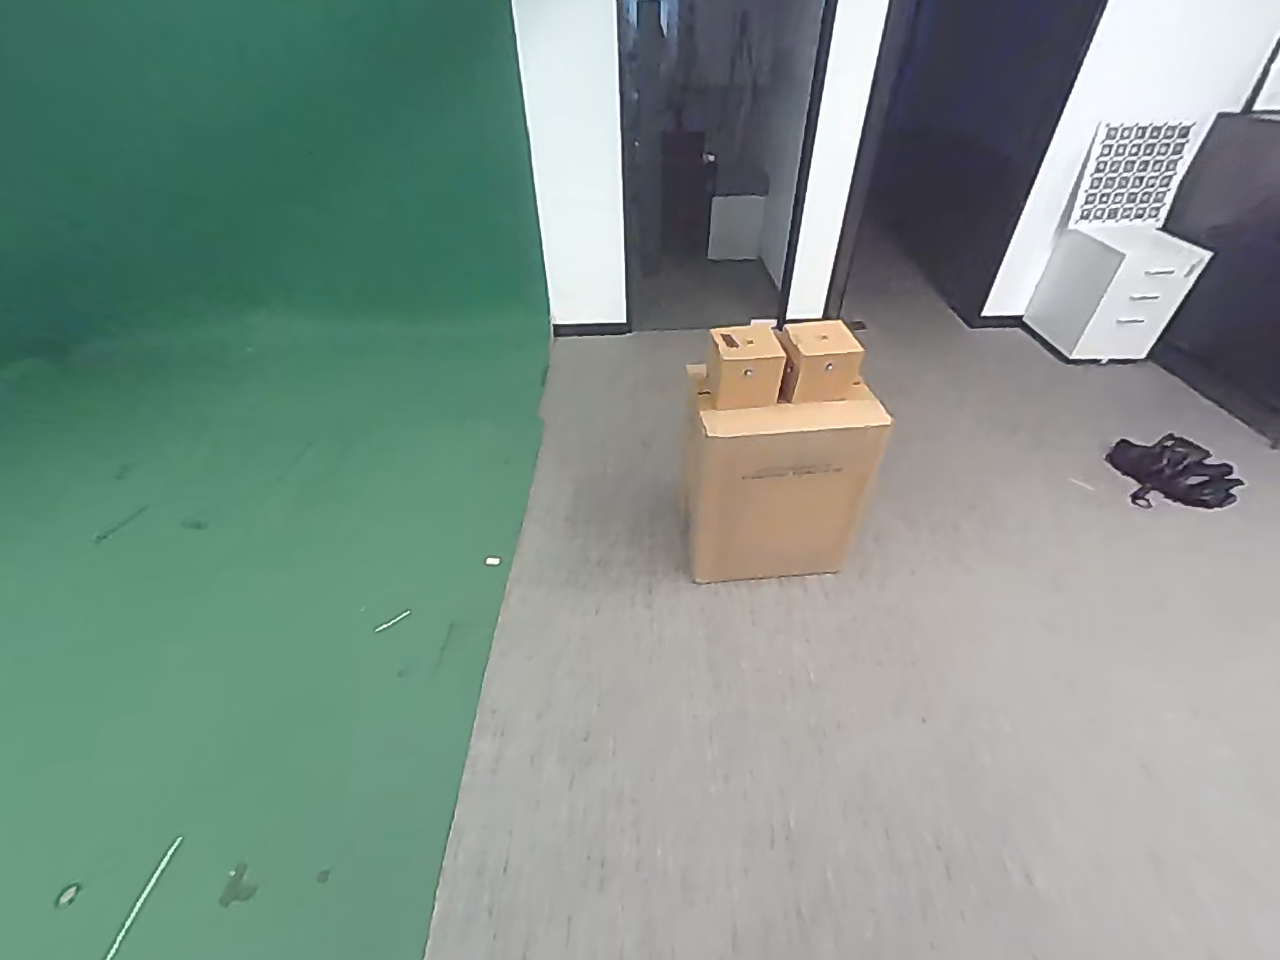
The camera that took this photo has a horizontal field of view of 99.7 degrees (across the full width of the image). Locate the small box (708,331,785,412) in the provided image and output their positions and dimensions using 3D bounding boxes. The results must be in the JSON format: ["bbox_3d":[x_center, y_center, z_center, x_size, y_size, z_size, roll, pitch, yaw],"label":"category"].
[{"bbox_3d":[0.297,-0.309,1.553,0.179,0.176,0.168,-5,46,-5],"label":"small box"}]

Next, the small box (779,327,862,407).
[{"bbox_3d":[0.509,-0.326,1.572,0.179,0.176,0.168,-5,46,-7],"label":"small box"}]
